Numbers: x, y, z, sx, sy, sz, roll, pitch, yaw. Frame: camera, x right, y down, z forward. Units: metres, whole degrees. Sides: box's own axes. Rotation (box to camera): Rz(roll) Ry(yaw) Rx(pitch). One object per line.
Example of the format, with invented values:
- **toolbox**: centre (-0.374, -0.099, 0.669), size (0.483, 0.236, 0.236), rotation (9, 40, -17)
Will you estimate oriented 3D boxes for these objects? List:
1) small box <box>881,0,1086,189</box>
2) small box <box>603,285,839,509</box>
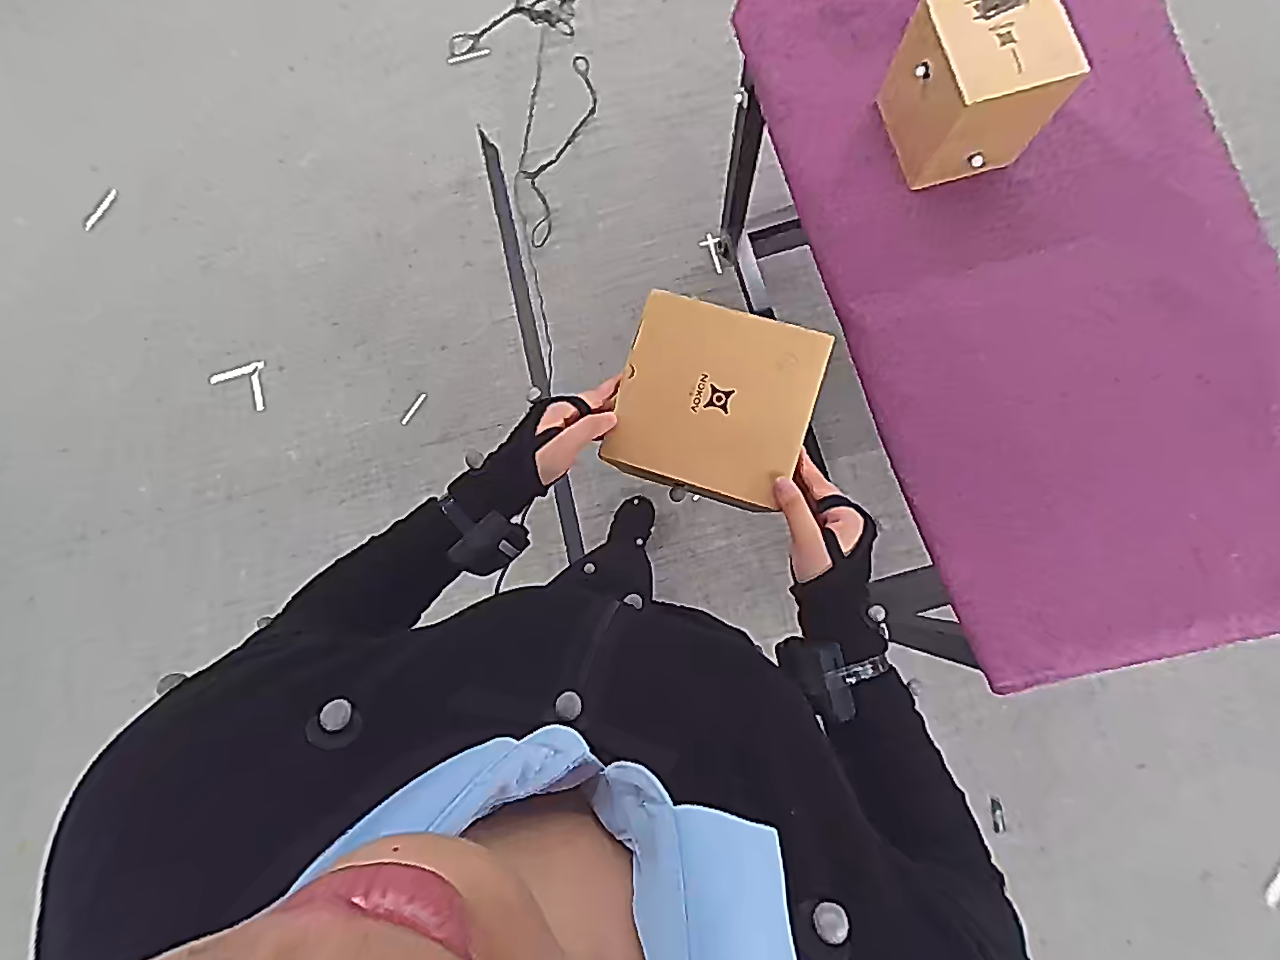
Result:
- **small box**: centre (0.480, -0.570, 0.789), size (0.168, 0.176, 0.179), rotation (-15, 81, 1)
- **small box**: centre (0.081, -0.074, 0.568), size (0.179, 0.176, 0.168), rotation (18, 88, 7)
